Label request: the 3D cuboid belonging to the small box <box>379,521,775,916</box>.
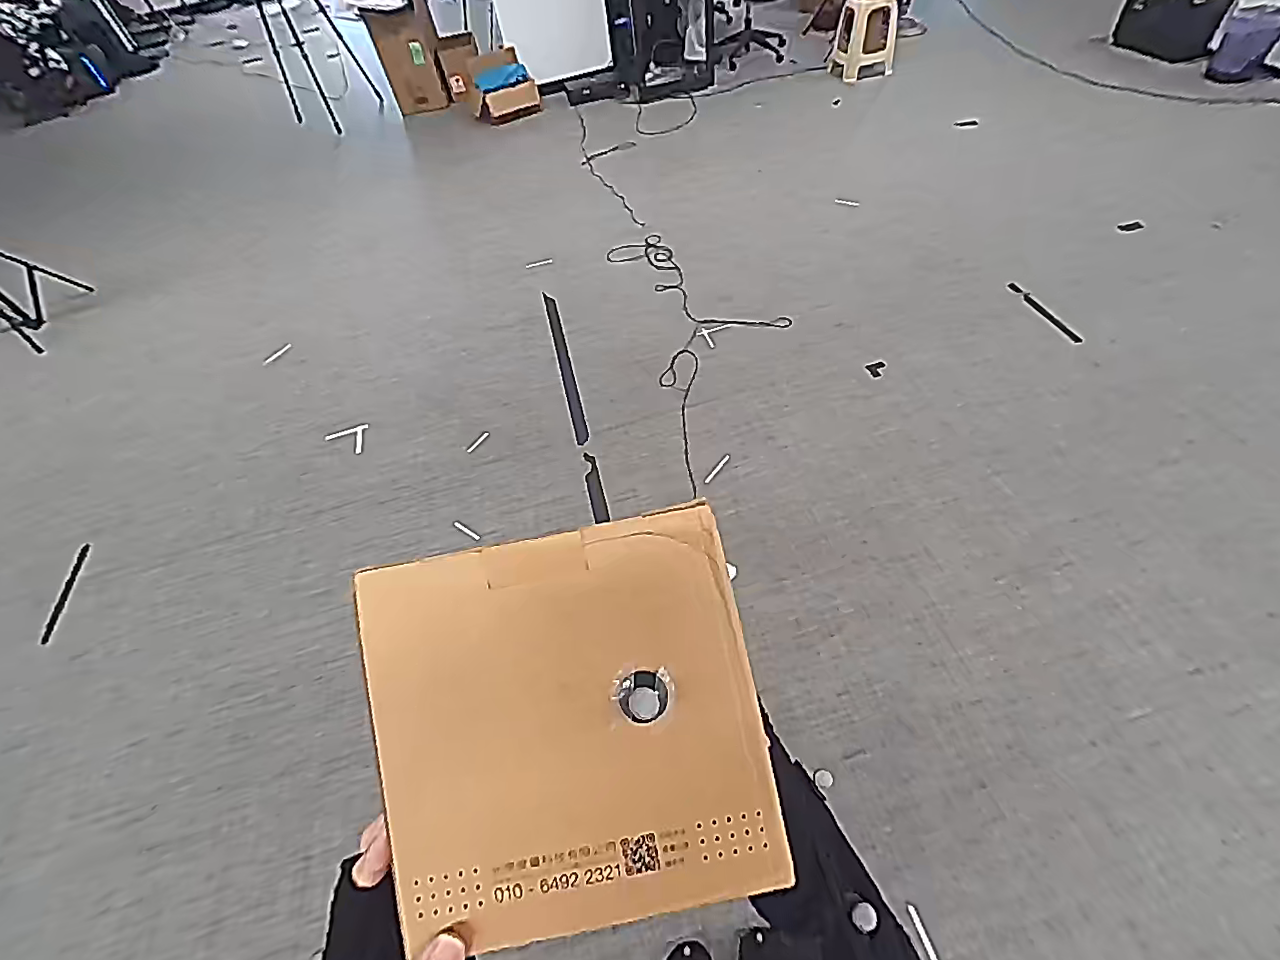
[{"bbox_3d":[-0.027,0.125,0.333,0.168,0.179,0.176,-11,84,0],"label":"small box"}]
